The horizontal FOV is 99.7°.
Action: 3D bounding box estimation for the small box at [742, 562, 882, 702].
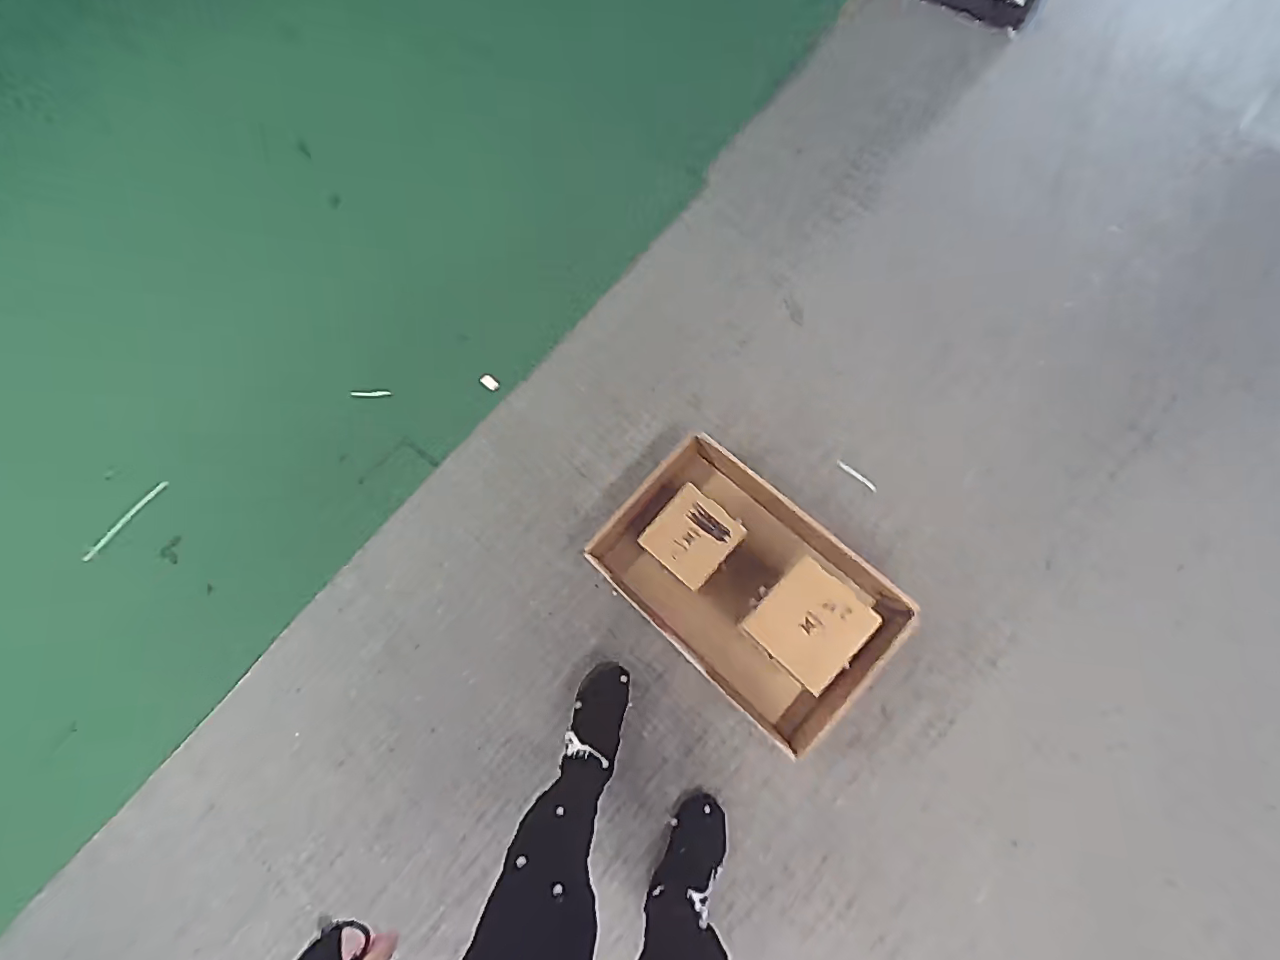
[{"bbox_3d":[0.309,0.280,1.005,0.168,0.176,0.179,43,84,17],"label":"small box"}]
